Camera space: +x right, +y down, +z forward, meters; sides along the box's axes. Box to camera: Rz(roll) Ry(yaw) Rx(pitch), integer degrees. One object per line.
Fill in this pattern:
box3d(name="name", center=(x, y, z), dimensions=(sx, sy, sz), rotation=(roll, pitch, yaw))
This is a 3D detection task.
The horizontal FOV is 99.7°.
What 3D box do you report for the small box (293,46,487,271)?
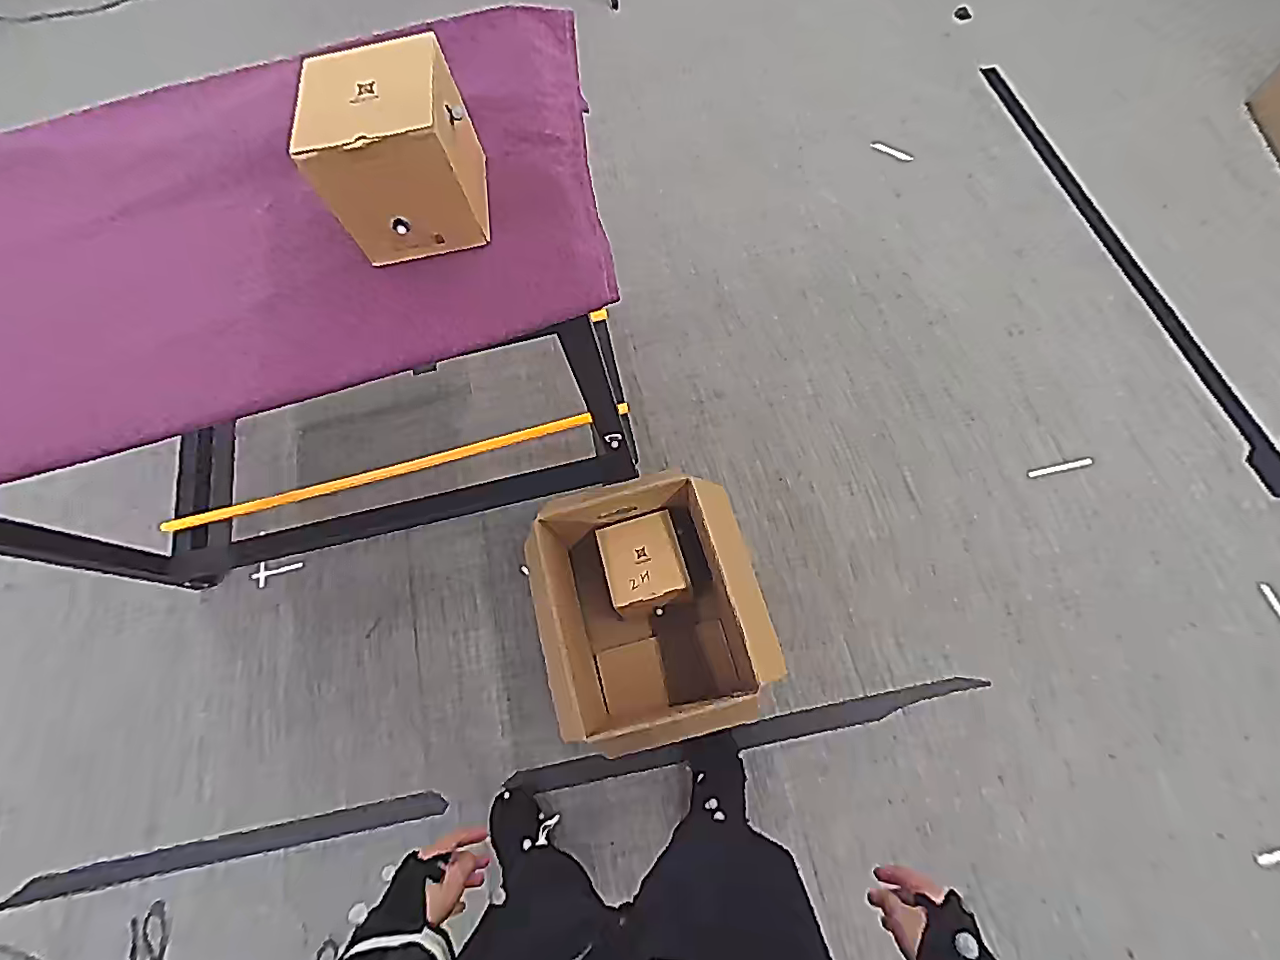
box3d(name="small box", center=(-0.309, -0.408, 0.703), dimensions=(0.168, 0.176, 0.179), rotation=(-11, 67, 3))
